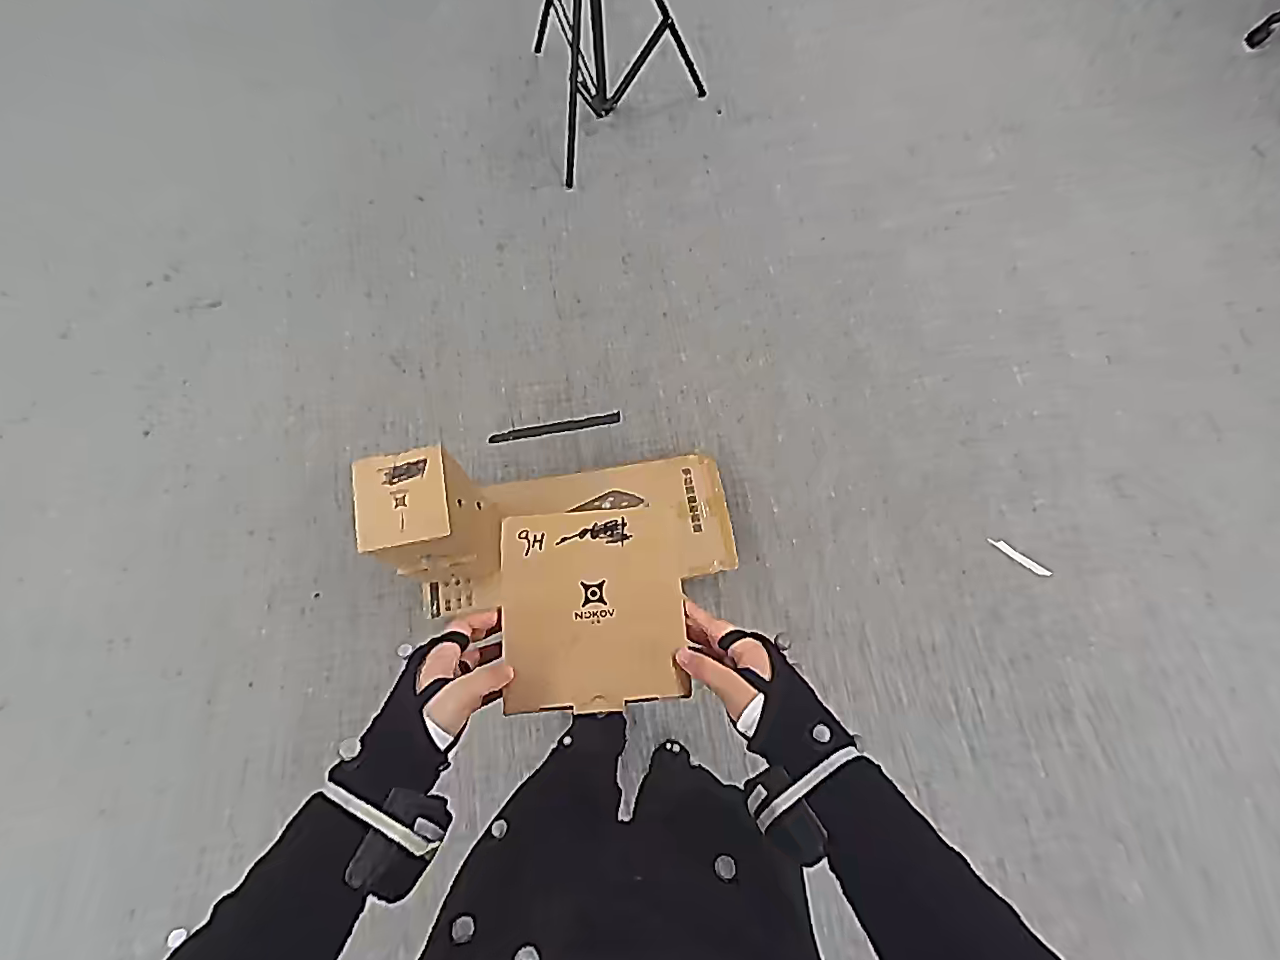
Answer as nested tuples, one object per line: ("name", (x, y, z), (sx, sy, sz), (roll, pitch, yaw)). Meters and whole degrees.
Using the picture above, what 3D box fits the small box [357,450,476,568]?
("small box", (-0.430, 0.062, 1.055), (0.168, 0.176, 0.179), (-11, 73, -4))

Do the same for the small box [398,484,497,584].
("small box", (-0.426, 0.126, 1.207), (0.168, 0.176, 0.179), (-10, 73, -3))

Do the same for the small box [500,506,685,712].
("small box", (-0.048, 0.136, 0.570), (0.168, 0.176, 0.179), (-4, 72, -4))
